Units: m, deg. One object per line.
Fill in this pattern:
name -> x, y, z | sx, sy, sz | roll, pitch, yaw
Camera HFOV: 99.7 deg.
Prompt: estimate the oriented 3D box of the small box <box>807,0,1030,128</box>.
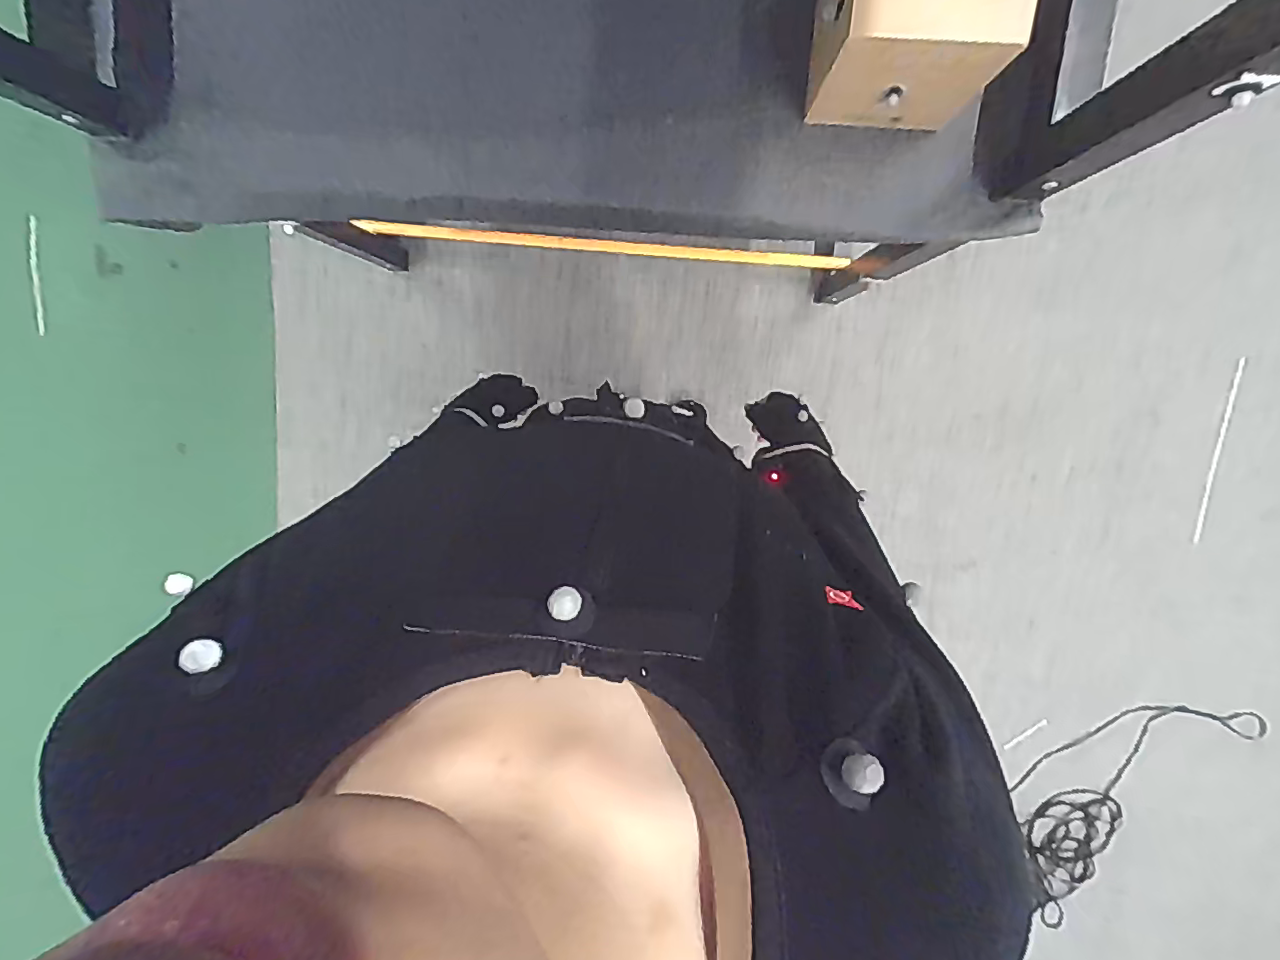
small box -> 0.283, -0.502, 0.568 | 0.168, 0.176, 0.179 | 5, 99, 1
